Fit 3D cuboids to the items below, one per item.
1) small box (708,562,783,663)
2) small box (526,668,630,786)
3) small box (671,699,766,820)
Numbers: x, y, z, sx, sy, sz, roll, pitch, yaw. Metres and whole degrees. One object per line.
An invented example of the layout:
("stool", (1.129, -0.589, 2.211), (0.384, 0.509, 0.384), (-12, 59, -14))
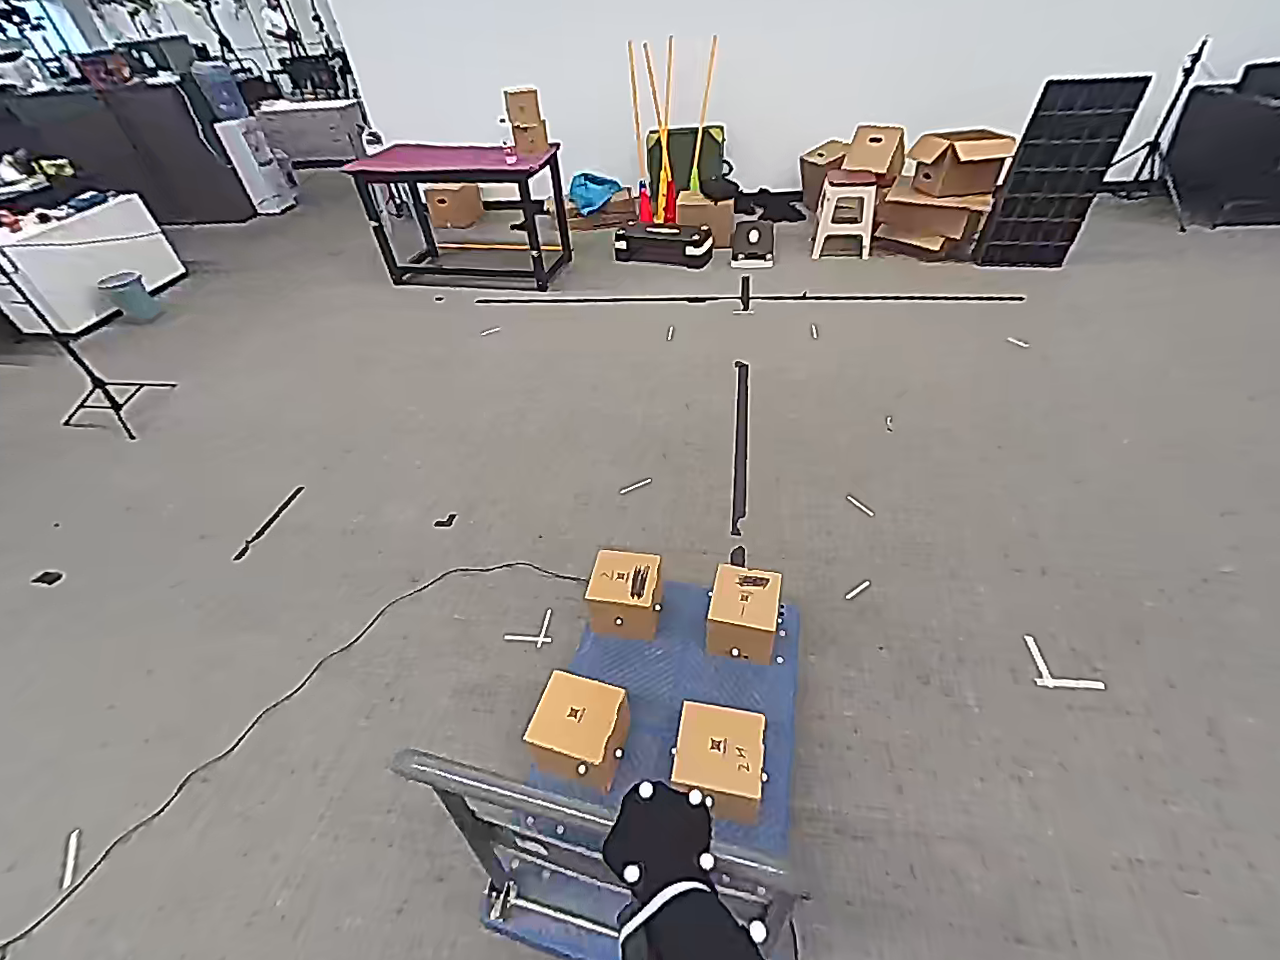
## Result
("small box", (0.274, 0.347, 1.413), (0.168, 0.176, 0.179), (8, 45, 14))
("small box", (-0.131, 0.558, 1.219), (0.179, 0.176, 0.168), (11, 44, 14))
("small box", (0.169, 0.597, 1.151), (0.179, 0.176, 0.168), (6, 44, 12))
